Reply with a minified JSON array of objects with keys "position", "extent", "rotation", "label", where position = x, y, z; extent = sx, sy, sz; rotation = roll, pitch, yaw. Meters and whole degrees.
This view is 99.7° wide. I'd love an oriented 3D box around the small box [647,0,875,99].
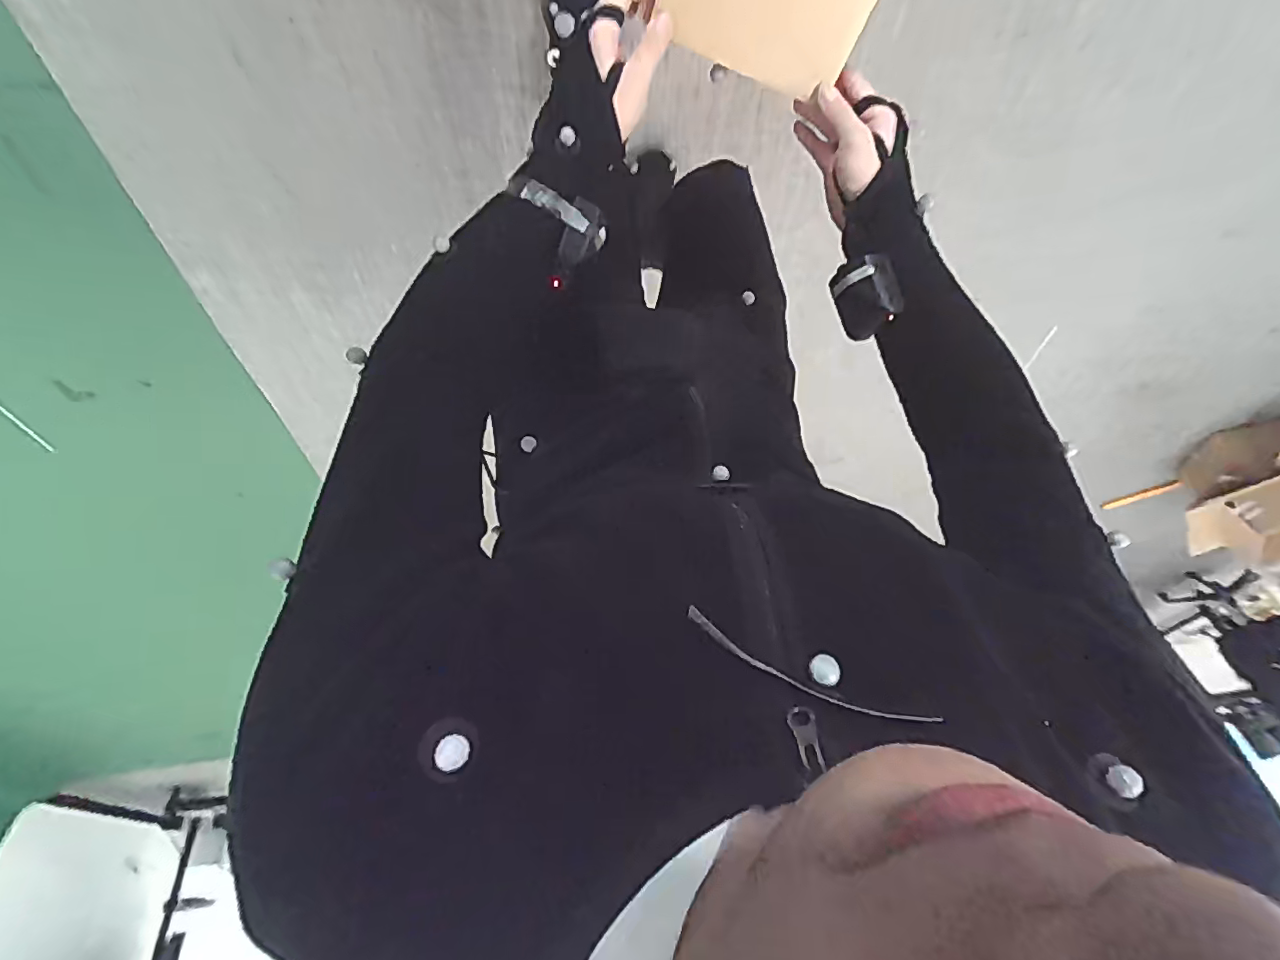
[{"position":[0.114,-0.482,0.479],"extent":[0.179,0.176,0.168],"rotation":[11,135,-16],"label":"small box"}]
